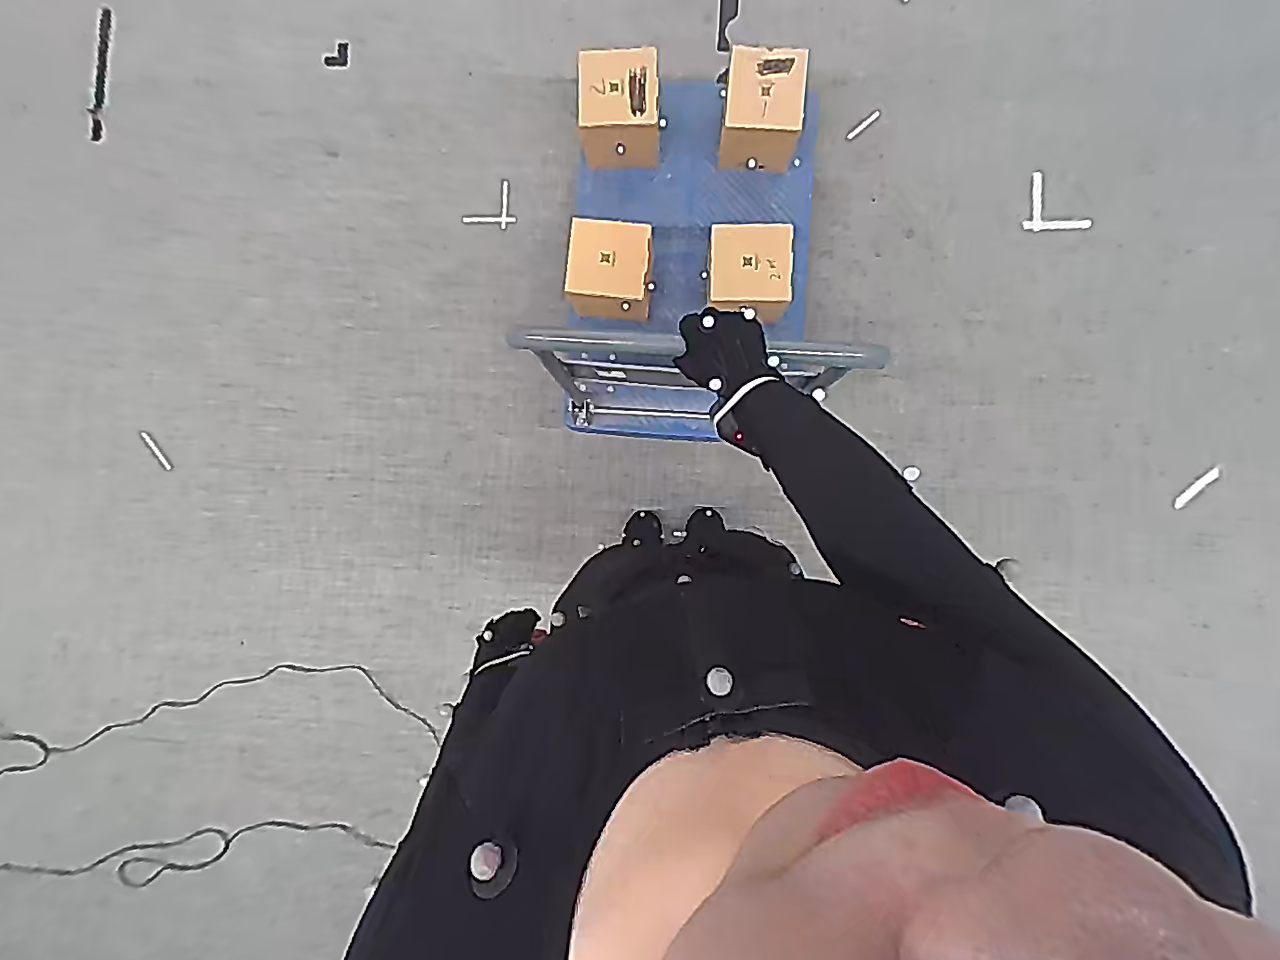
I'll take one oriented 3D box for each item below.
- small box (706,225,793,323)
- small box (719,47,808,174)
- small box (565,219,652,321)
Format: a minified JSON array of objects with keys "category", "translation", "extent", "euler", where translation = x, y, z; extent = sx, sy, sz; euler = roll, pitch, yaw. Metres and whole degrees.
[{"category":"small box","translation":[0.242,-0.464,1.237],"extent":[0.179,0.176,0.168],"euler":[1,90,3]},{"category":"small box","translation":[0.274,-0.837,1.236],"extent":[0.168,0.176,0.179],"euler":[5,91,3]},{"category":"small box","translation":[-0.066,-0.479,1.255],"extent":[0.179,0.176,0.168],"euler":[6,90,2]}]
